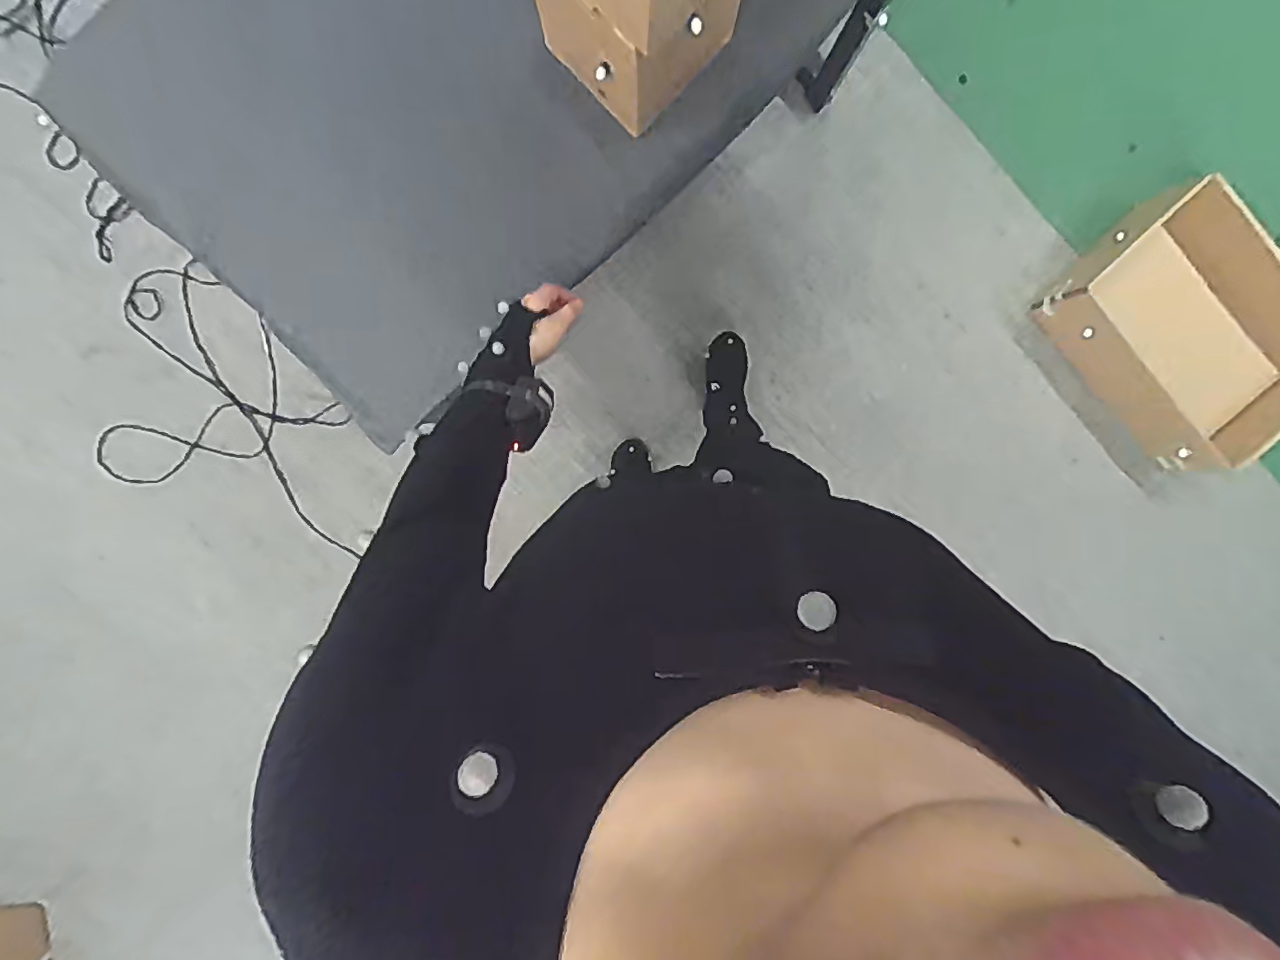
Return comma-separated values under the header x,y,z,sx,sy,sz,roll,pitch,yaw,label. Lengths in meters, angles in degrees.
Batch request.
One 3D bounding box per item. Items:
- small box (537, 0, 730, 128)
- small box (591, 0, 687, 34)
x,y,z,sx,sy,sz,roll,pitch,yaw,label
-0.006,-0.547,0.599,0.168,0.176,0.179,44,93,-5,small box
0.002,-0.522,0.437,0.179,0.176,0.168,44,94,-5,small box
